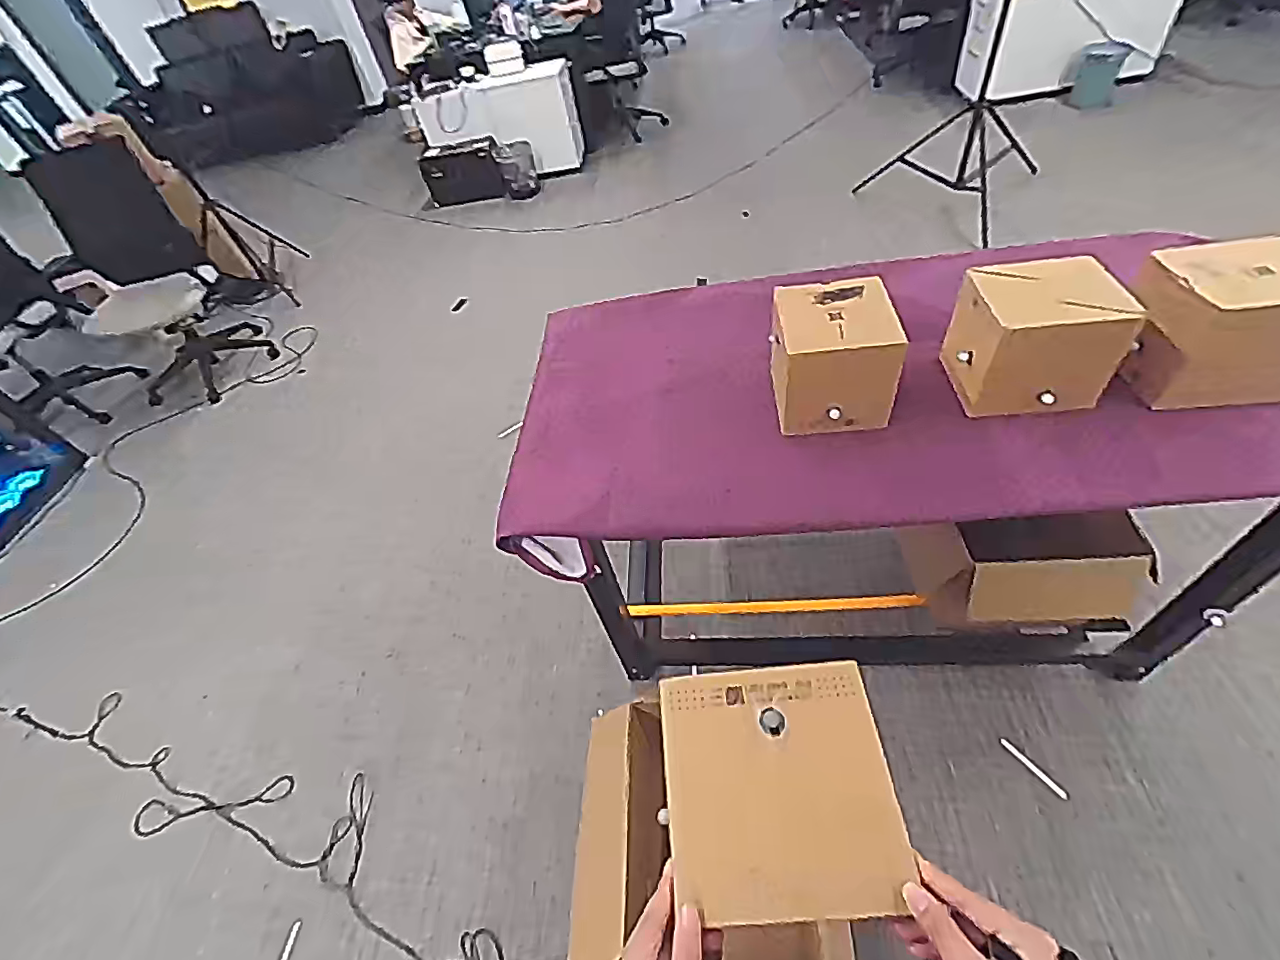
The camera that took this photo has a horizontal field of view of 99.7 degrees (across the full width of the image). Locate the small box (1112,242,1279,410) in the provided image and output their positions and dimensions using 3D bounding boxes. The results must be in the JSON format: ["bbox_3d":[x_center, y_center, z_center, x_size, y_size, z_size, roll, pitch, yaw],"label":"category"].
[{"bbox_3d":[0.835,-0.219,0.787,0.179,0.176,0.168,-3,46,10],"label":"small box"}]

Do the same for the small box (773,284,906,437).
[{"bbox_3d":[0.310,-0.192,0.882,0.168,0.176,0.179,-4,49,9],"label":"small box"}]

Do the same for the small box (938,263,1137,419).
[{"bbox_3d":[0.594,-0.215,0.834,0.179,0.176,0.168,-3,47,10],"label":"small box"}]
